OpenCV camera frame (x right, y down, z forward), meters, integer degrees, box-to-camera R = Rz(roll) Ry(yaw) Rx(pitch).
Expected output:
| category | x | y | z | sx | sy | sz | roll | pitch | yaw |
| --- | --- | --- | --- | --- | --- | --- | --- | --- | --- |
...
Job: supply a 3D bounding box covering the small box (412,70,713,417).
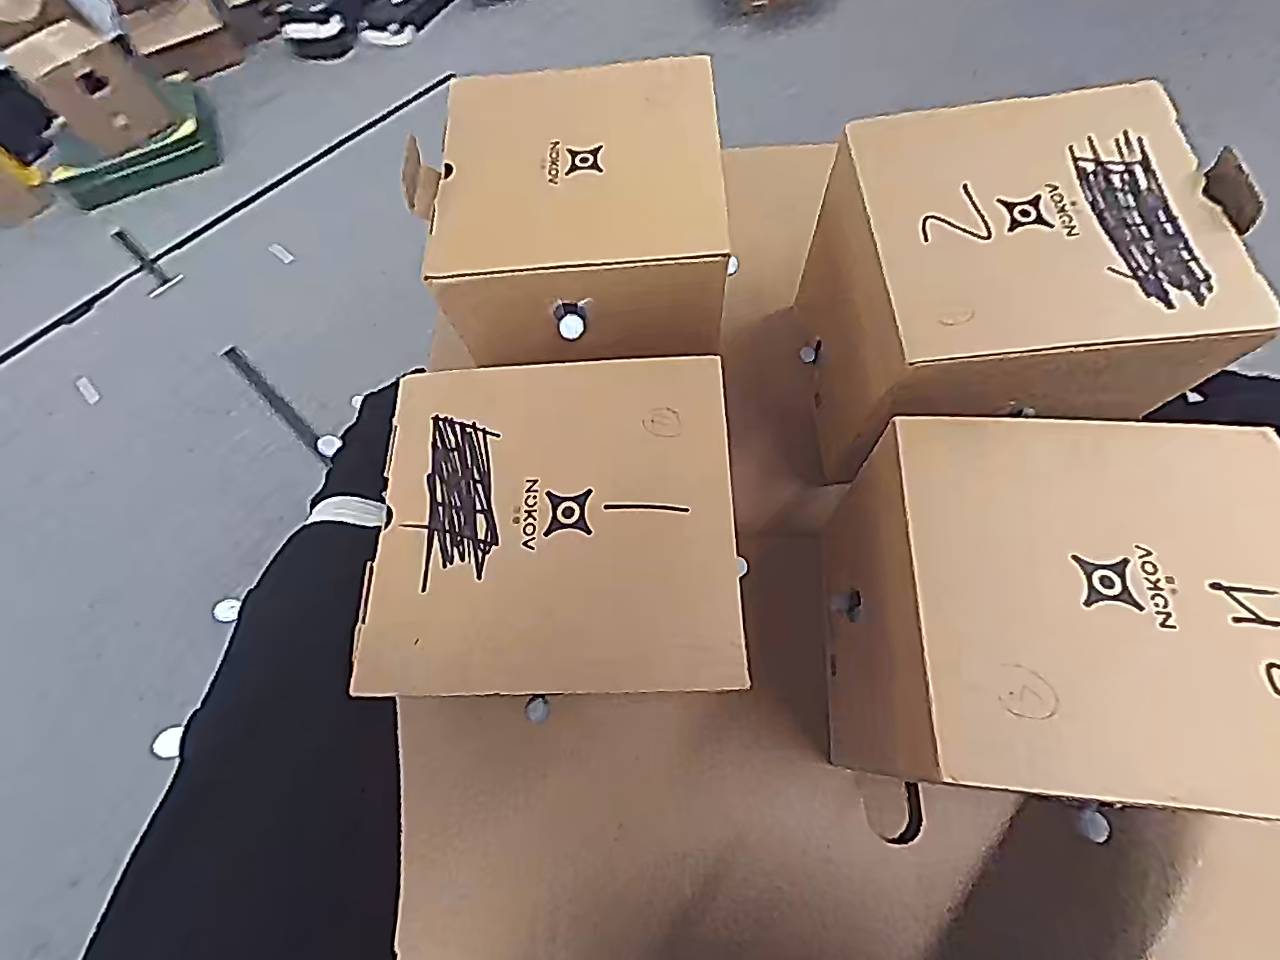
| category | x | y | z | sx | sy | sz | roll | pitch | yaw |
| --- | --- | --- | --- | --- | --- | --- | --- | --- | --- |
| small box | -0.042 | -0.160 | 0.409 | 0.179 | 0.176 | 0.168 | -4 | 69 | 4 |
